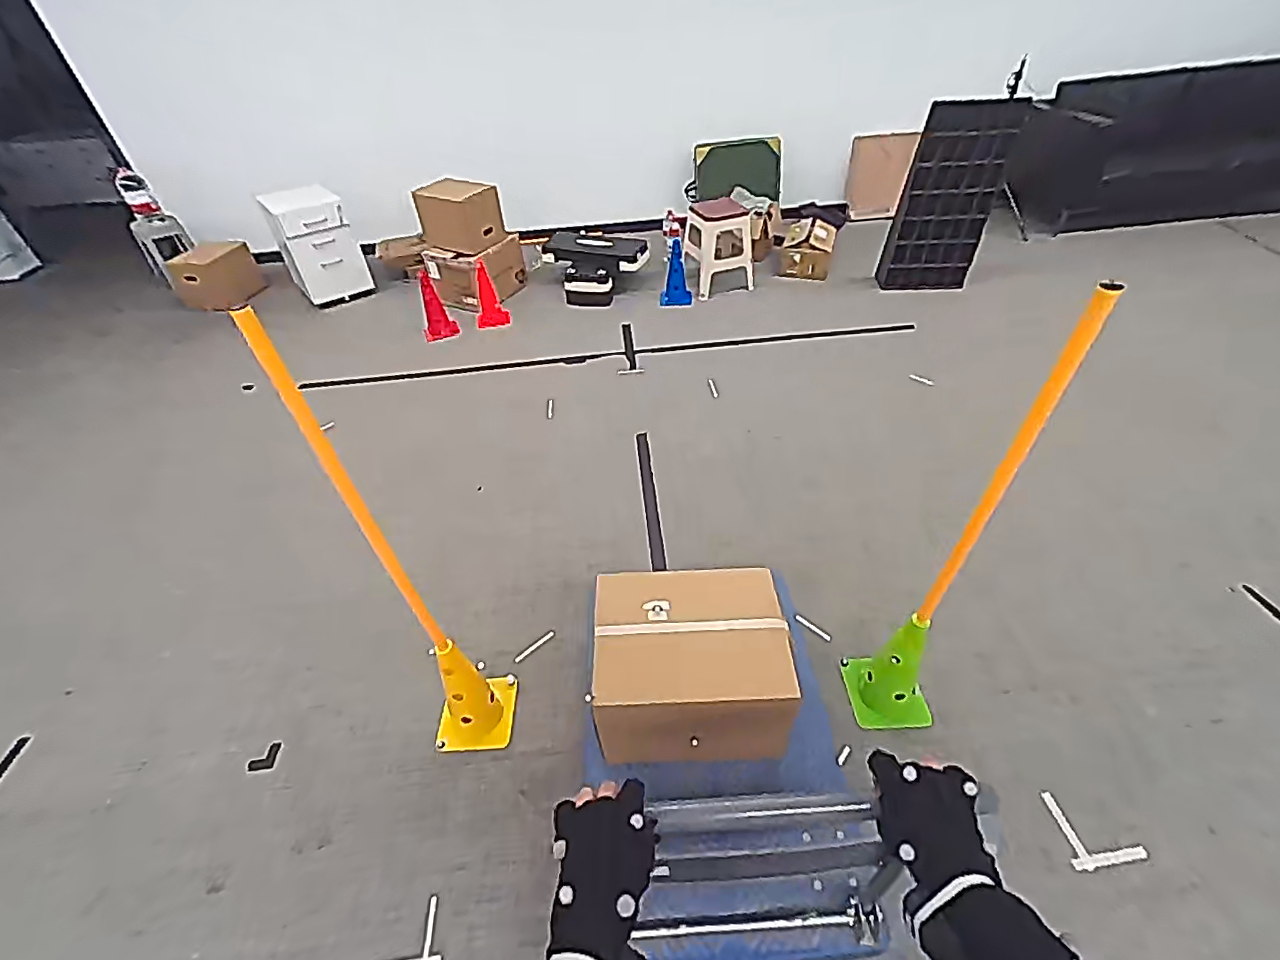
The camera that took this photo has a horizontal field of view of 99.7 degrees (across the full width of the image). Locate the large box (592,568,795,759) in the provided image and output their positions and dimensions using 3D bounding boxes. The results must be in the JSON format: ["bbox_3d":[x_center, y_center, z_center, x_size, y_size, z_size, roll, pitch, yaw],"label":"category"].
[{"bbox_3d":[0.111,0.430,1.261,0.408,0.320,0.320,-4,43,2],"label":"large box"}]

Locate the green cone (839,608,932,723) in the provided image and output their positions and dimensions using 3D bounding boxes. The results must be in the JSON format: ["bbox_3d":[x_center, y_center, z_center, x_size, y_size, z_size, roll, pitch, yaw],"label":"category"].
[{"bbox_3d":[0.674,0.455,1.401,0.202,0.368,0.200,-2,43,0],"label":"green cone"}]
